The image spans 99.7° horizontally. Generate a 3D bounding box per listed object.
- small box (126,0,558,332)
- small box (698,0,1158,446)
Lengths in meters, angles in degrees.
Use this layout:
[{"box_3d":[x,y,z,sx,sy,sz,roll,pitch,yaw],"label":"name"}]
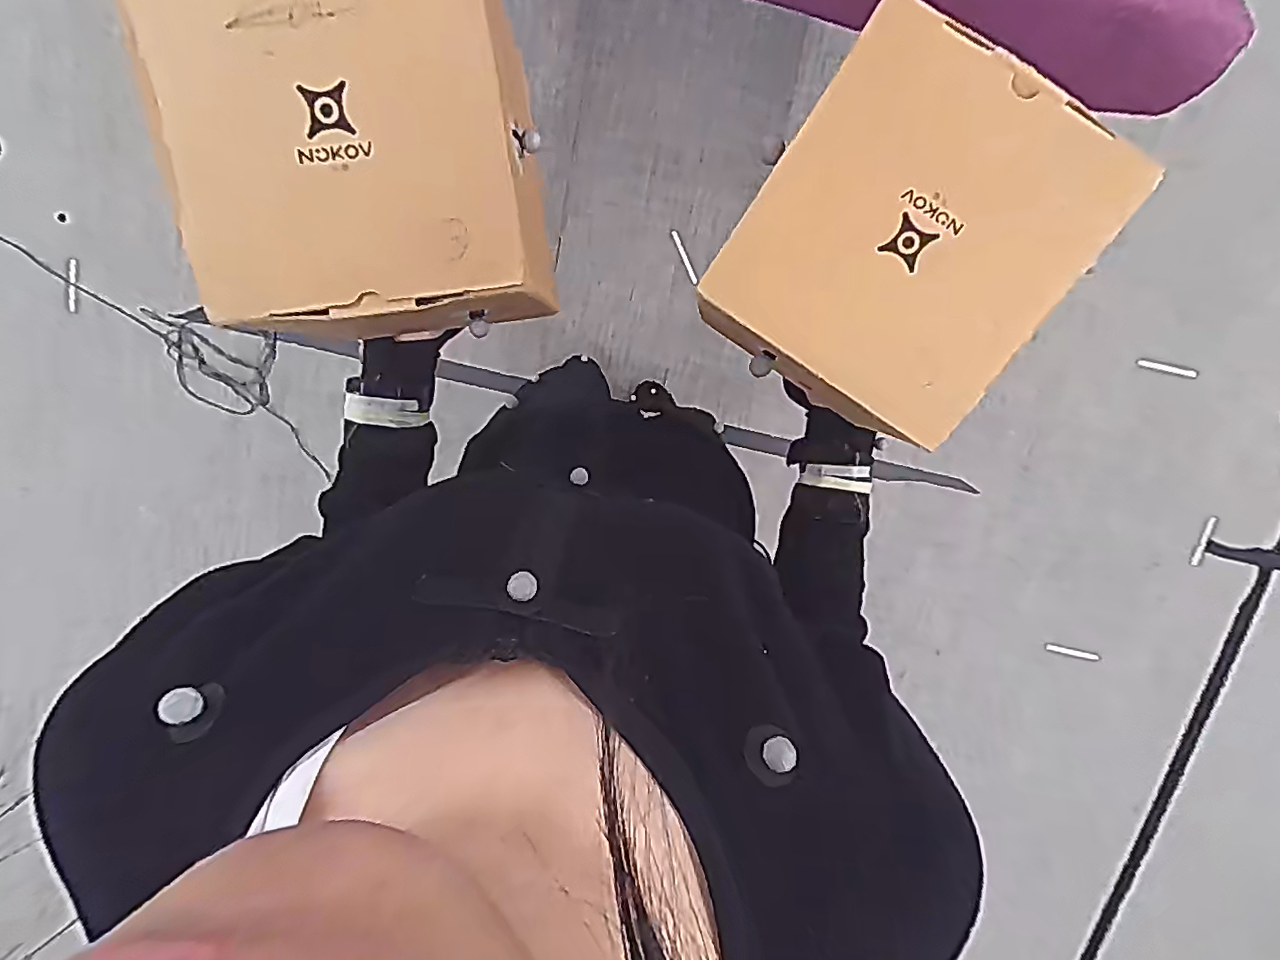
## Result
[{"box_3d":[-0.149,-0.191,0.338,0.168,0.176,0.179,-8,102,-2],"label":"small box"},{"box_3d":[0.157,-0.146,0.366,0.168,0.176,0.179,34,102,0],"label":"small box"}]
